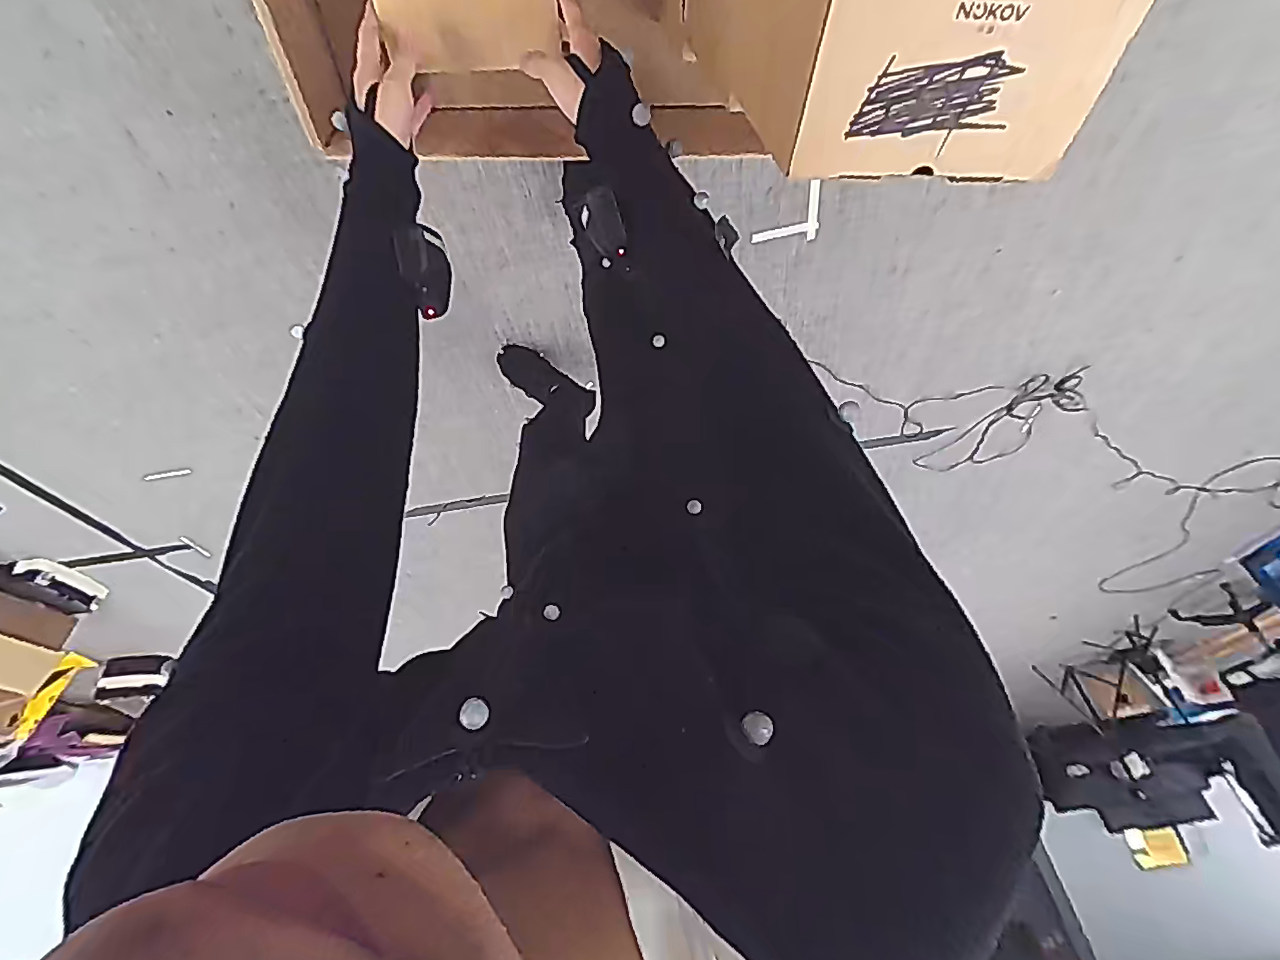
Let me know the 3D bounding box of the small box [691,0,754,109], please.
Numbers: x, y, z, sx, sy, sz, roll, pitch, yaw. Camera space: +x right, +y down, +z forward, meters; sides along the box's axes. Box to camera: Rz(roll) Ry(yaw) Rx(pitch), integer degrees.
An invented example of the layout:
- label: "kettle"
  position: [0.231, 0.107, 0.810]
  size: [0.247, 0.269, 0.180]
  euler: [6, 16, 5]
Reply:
- label: "small box"
  position: [0.144, -0.409, 0.412]
  size: [0.179, 0.176, 0.168]
  euler: [-6, 141, -3]

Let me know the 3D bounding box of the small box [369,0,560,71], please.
- label: "small box"
  position: [-0.164, -0.510, 0.501]
  size: [0.168, 0.176, 0.179]
  euler: [-5, 140, -4]

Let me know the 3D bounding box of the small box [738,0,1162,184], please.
- label: "small box"
  position: [0.159, -0.291, 0.297]
  size: [0.168, 0.176, 0.179]
  euler: [-2, 140, -6]
